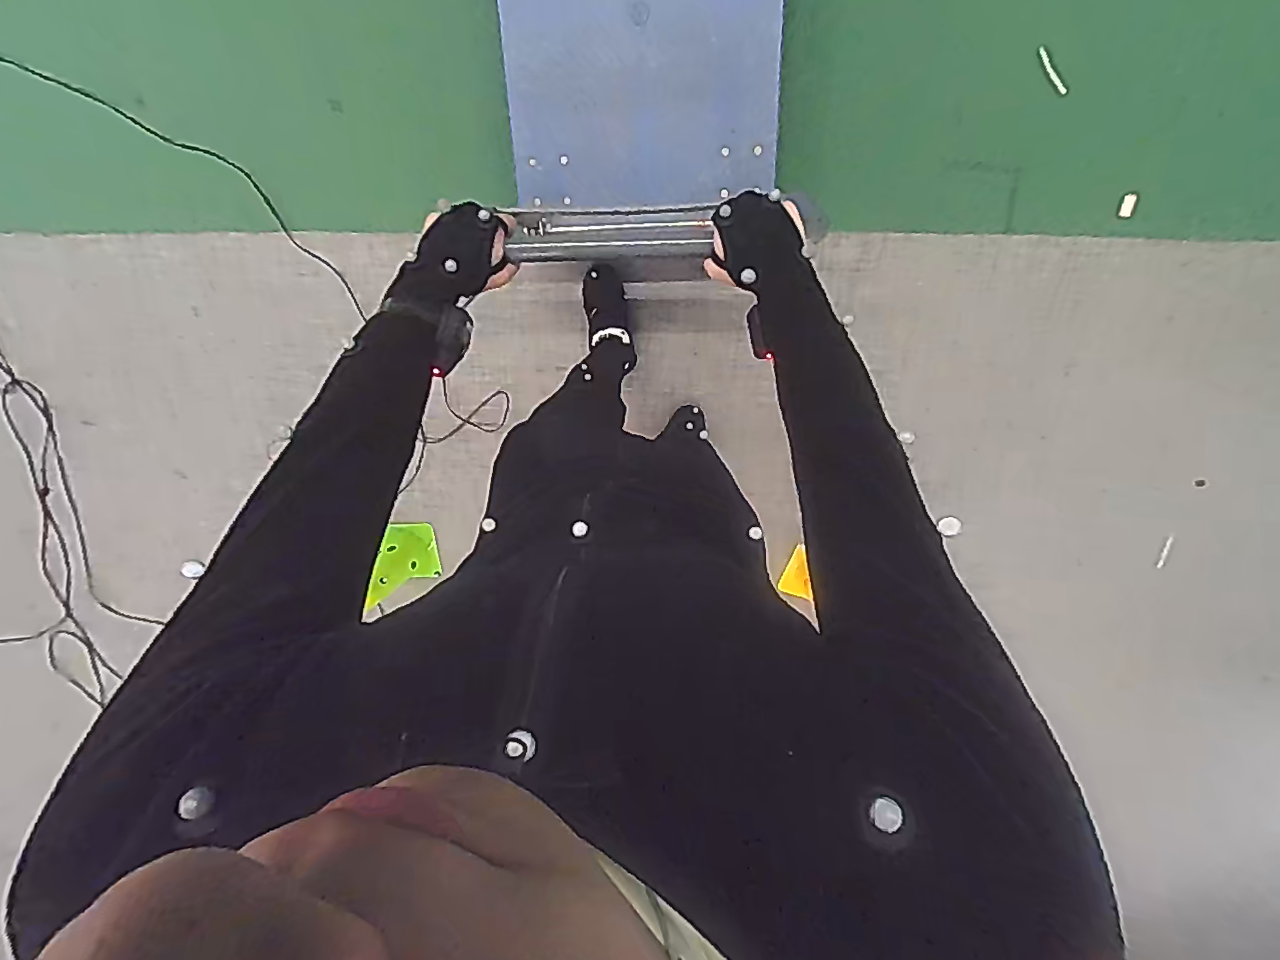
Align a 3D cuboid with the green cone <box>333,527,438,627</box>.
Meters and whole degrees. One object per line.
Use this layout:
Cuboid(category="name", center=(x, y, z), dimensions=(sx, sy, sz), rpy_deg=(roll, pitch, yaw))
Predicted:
Cuboid(category="green cone", center=(-0.783, 0.306, 1.604), dimensions=(0.202, 0.368, 0.200), rpy_deg=(-1, 111, 5))
